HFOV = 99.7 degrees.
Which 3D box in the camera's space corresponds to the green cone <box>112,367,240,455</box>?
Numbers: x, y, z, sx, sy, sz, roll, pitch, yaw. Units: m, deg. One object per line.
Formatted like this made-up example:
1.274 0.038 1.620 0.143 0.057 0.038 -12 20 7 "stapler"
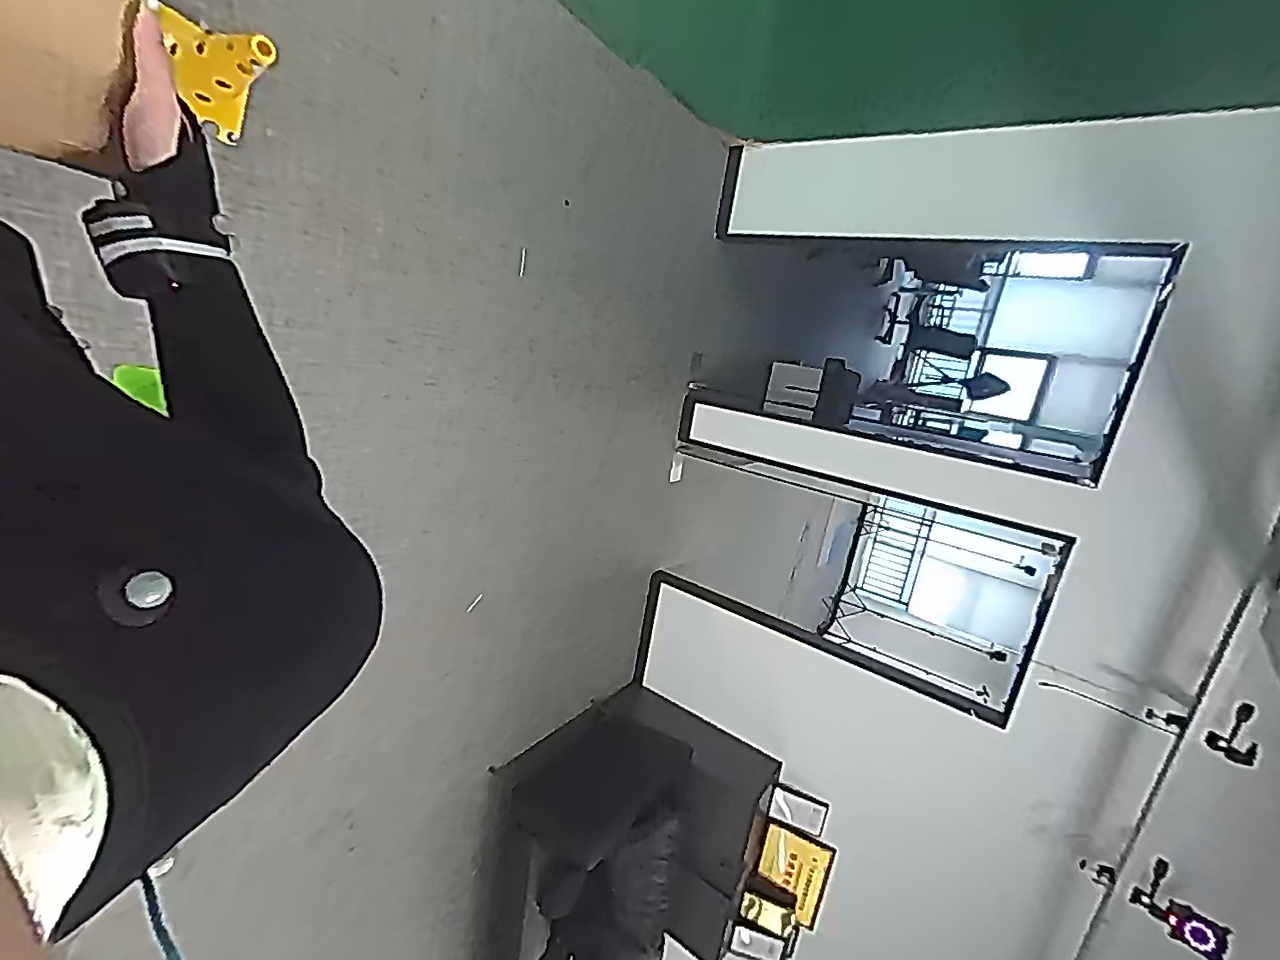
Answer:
-1.001 -0.121 1.223 0.200 0.368 0.202 0 104 -58 "green cone"
